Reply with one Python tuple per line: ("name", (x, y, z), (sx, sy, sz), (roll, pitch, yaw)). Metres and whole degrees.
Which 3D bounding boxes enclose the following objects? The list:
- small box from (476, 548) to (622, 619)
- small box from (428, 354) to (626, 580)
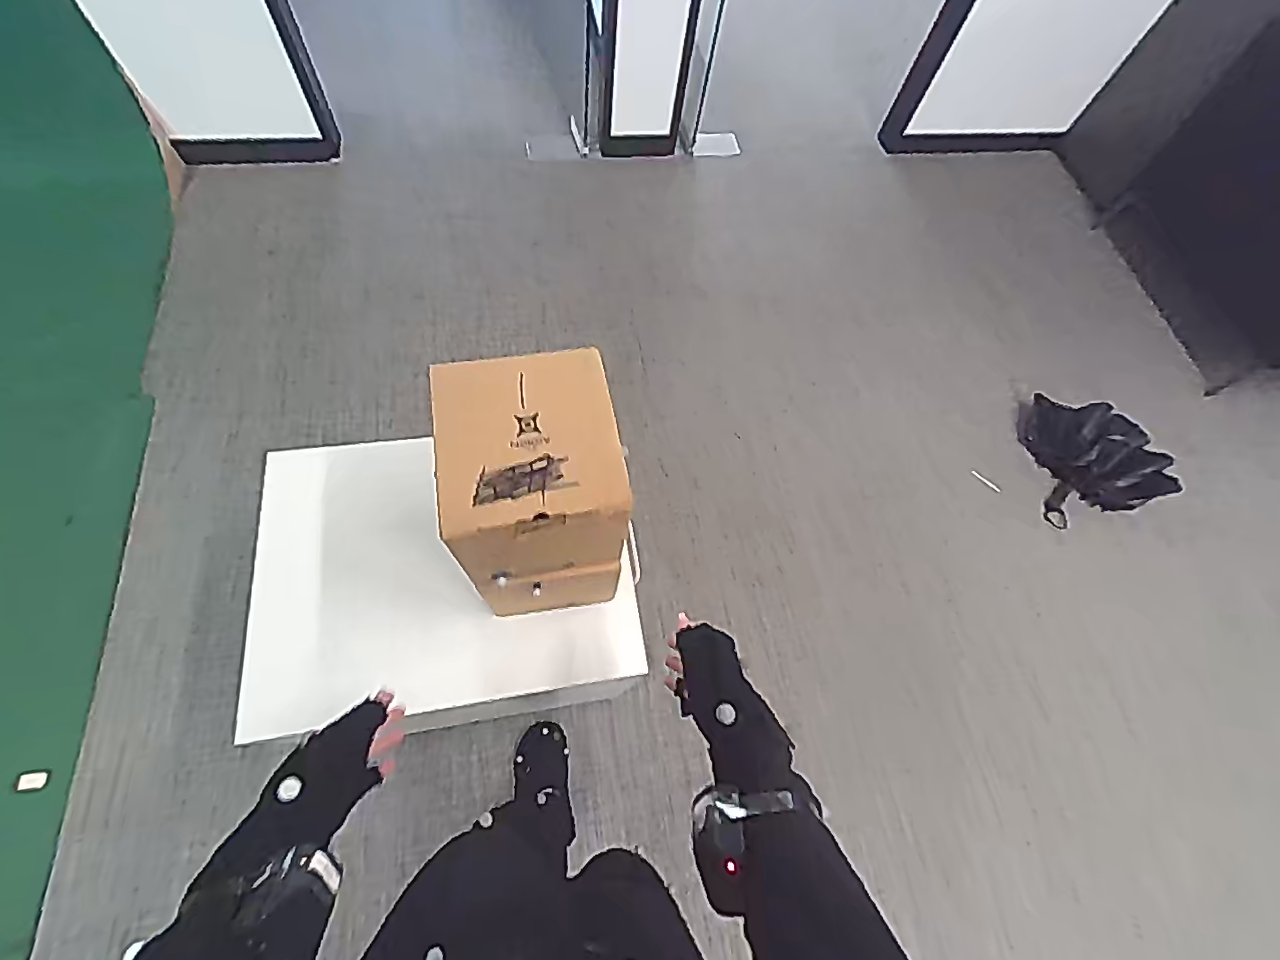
("small box", (-0.121, 0.071, 0.714), (0.168, 0.176, 0.179), (-7, 66, -8))
("small box", (-0.113, -0.003, 0.567), (0.168, 0.176, 0.179), (-9, 66, -10))
